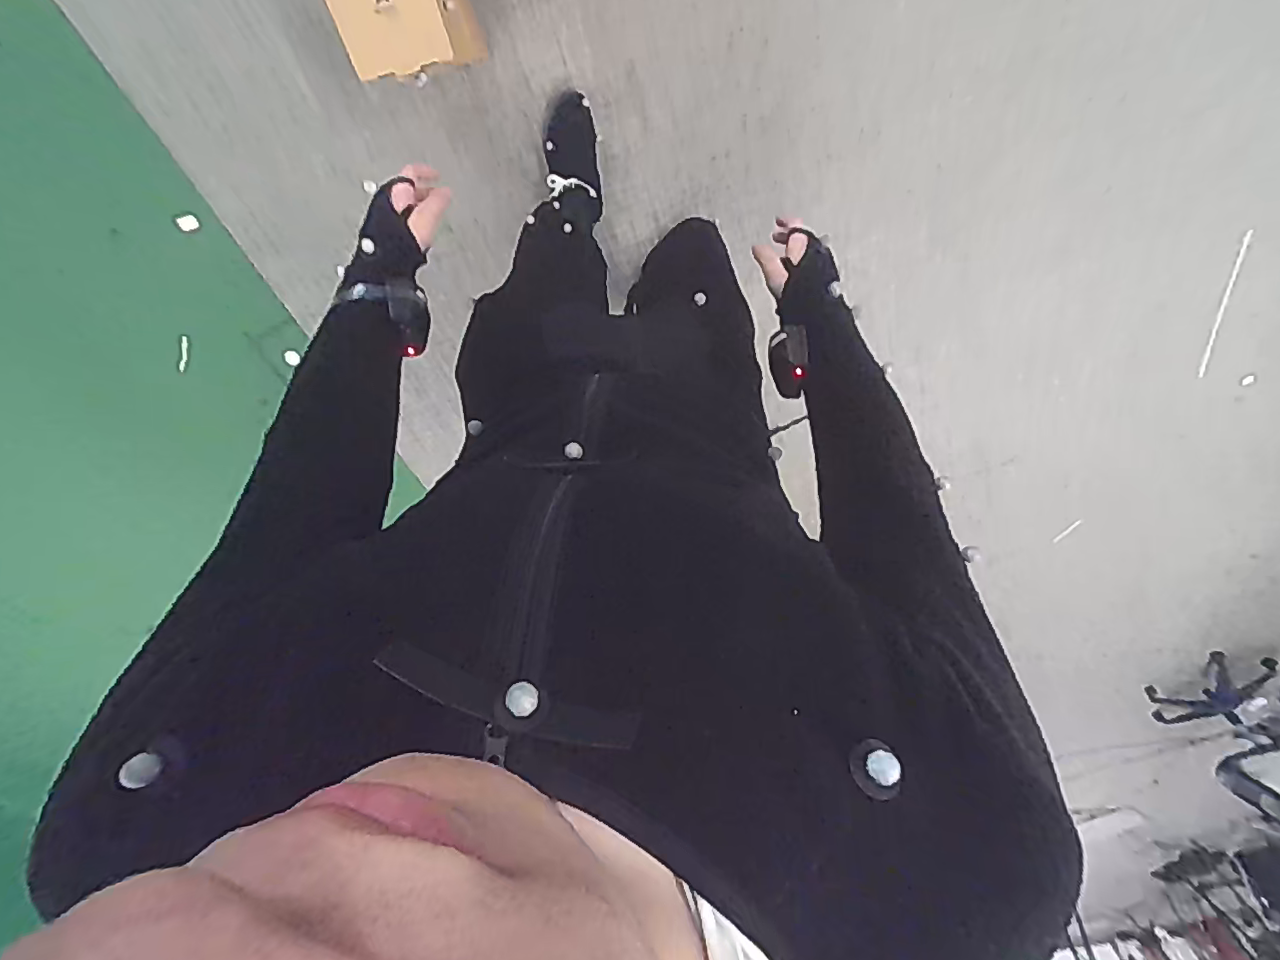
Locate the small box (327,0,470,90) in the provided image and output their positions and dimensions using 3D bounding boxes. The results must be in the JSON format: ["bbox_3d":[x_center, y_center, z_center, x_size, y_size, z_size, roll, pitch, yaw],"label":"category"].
[{"bbox_3d":[-0.400,-0.778,0.902,0.168,0.176,0.179,-11,128,3],"label":"small box"}]
